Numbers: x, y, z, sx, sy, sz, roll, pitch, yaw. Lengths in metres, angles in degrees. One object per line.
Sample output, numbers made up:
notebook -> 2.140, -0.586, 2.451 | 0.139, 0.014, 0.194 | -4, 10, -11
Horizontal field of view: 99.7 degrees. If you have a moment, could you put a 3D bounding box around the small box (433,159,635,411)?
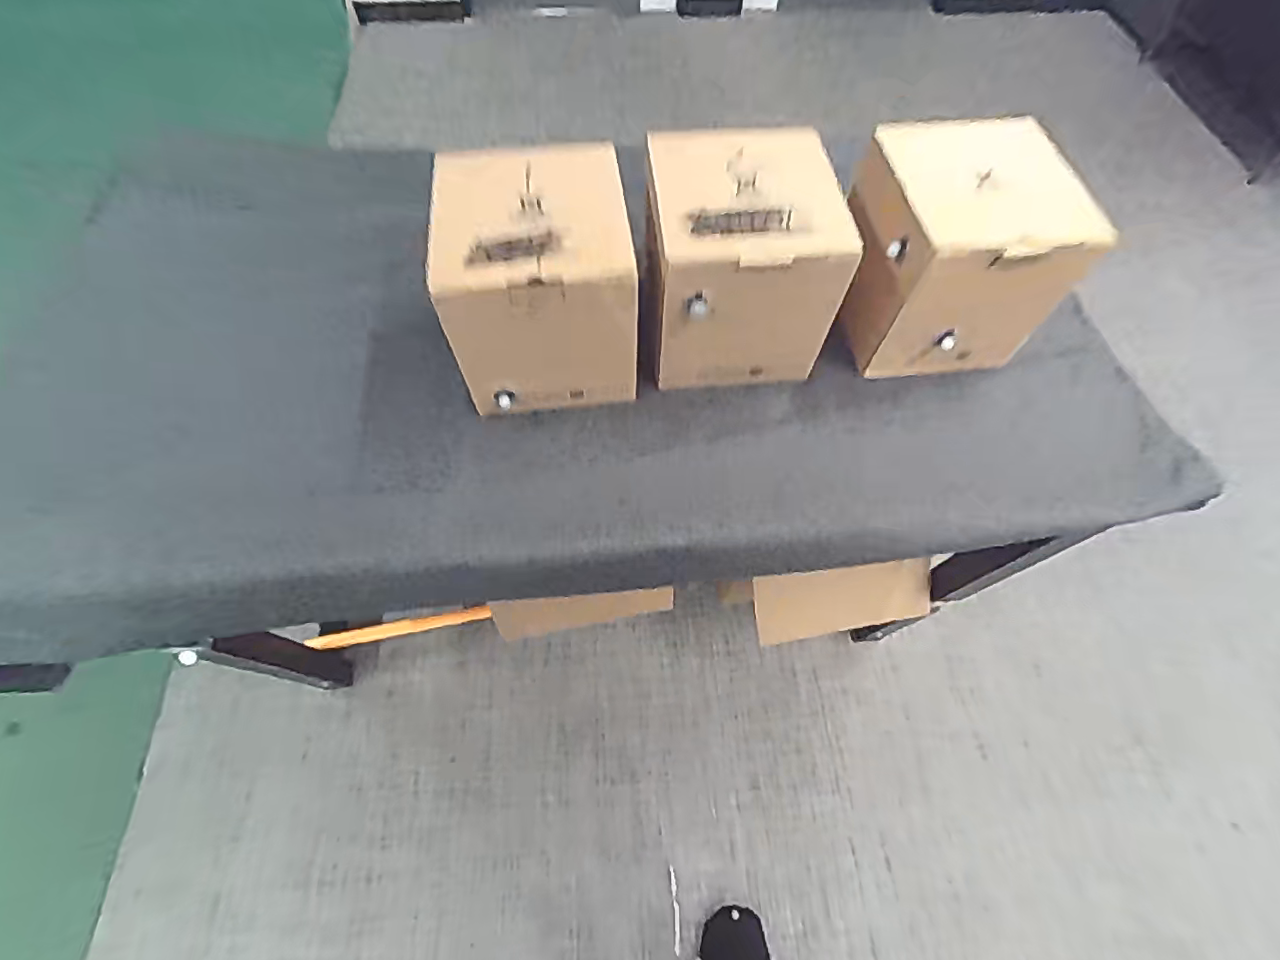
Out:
small box -> -0.094, -0.182, 0.538 | 0.168, 0.176, 0.179 | -6, 62, -5

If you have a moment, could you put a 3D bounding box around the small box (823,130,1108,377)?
small box -> 0.313, -0.232, 0.570 | 0.168, 0.176, 0.179 | -6, 63, -4
